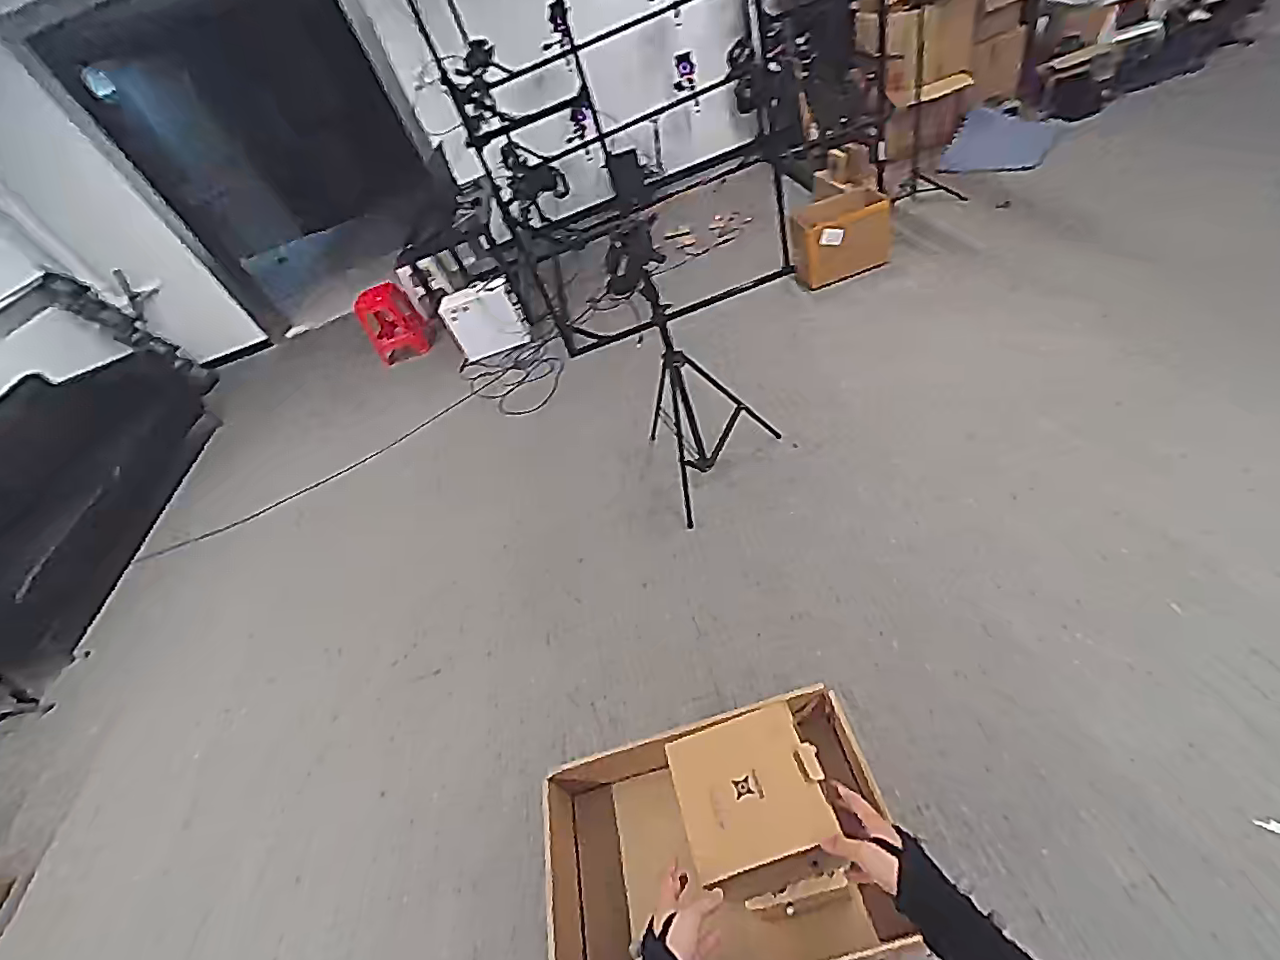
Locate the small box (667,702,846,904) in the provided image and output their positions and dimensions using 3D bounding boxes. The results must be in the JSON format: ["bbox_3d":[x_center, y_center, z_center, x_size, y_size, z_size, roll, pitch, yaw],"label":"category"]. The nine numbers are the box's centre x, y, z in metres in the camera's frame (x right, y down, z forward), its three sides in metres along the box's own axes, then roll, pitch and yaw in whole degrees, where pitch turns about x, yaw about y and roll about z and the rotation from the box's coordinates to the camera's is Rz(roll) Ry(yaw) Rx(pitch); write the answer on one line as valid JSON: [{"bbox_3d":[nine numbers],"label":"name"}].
[{"bbox_3d":[0.155,0.431,0.719,0.179,0.176,0.168,-22,42,2],"label":"small box"}]
